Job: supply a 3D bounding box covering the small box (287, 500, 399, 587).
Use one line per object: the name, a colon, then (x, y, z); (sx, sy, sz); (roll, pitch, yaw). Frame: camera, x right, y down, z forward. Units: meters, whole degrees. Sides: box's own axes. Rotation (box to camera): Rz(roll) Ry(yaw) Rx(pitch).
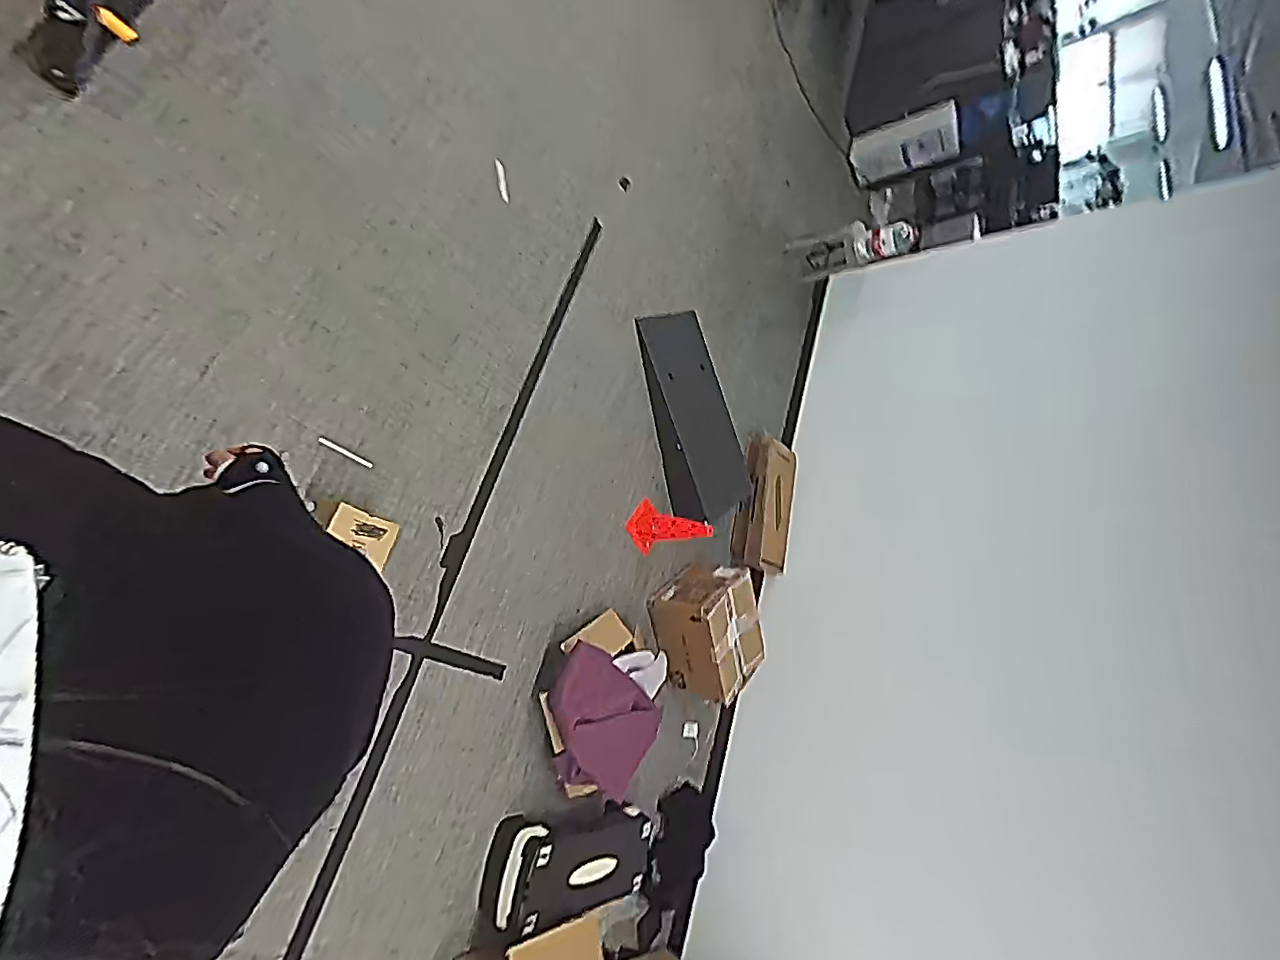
small box: (-0.763, 0.159, 1.384); (0.168, 0.176, 0.179); (37, 63, -44)
